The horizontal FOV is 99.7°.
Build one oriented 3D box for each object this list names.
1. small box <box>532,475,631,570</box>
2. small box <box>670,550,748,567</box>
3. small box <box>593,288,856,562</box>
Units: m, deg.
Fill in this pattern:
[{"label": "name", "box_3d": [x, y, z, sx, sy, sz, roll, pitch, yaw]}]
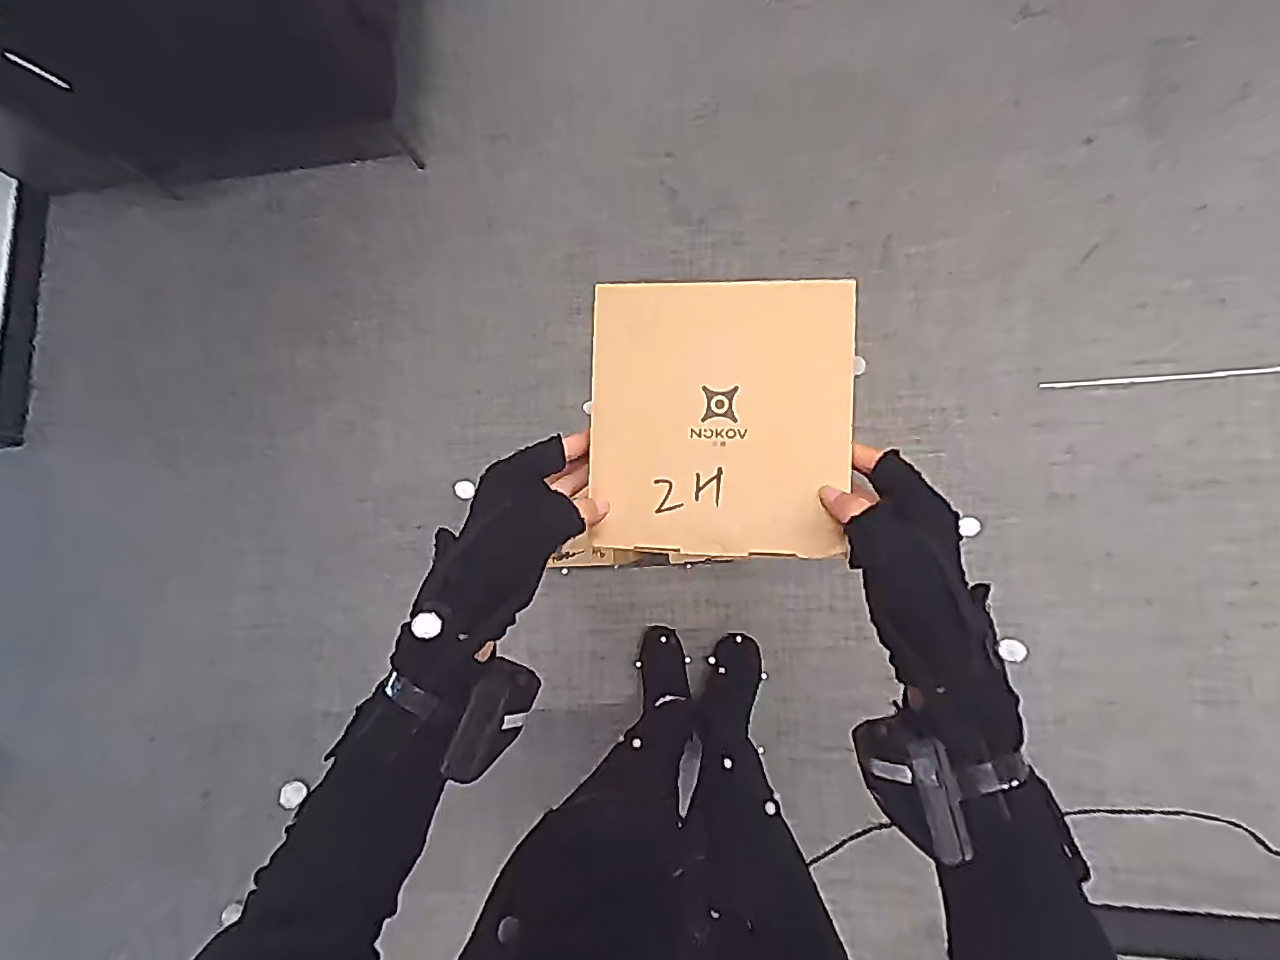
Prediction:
[{"label": "small box", "box_3d": [-0.113, 0.092, 1.099, 0.168, 0.176, 0.179, -3, 81, 9]}, {"label": "small box", "box_3d": [0.155, 0.103, 1.220, 0.168, 0.176, 0.179, -4, 81, 8]}, {"label": "small box", "box_3d": [0.063, -0.038, 0.434, 0.168, 0.176, 0.179, 3, 91, 8]}]
